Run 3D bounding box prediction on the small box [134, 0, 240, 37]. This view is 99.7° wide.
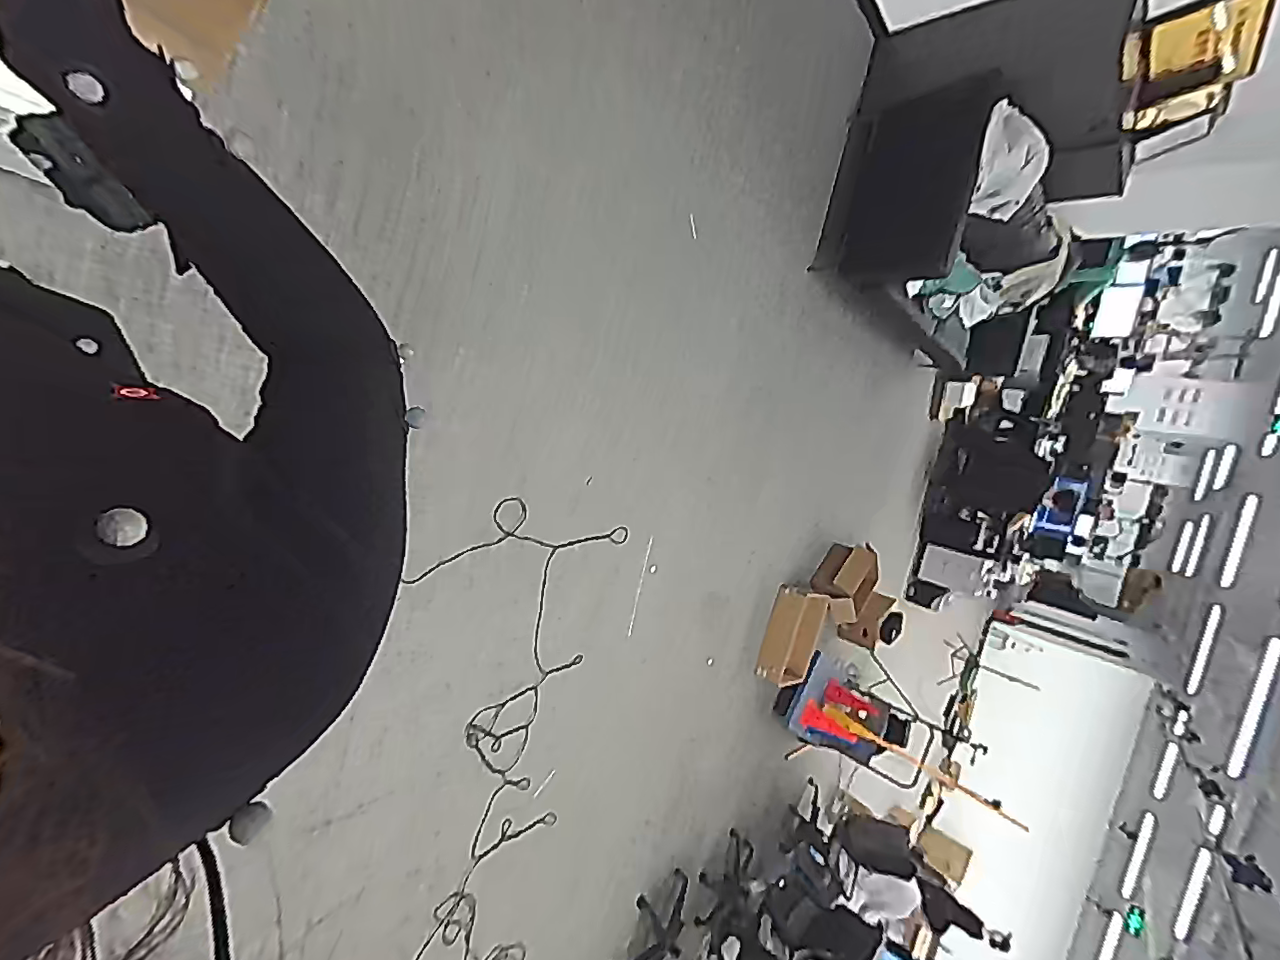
[{"bbox_3d":[-0.409,-0.510,0.429,0.179,0.176,0.168,12,93,-49],"label":"small box"}]
